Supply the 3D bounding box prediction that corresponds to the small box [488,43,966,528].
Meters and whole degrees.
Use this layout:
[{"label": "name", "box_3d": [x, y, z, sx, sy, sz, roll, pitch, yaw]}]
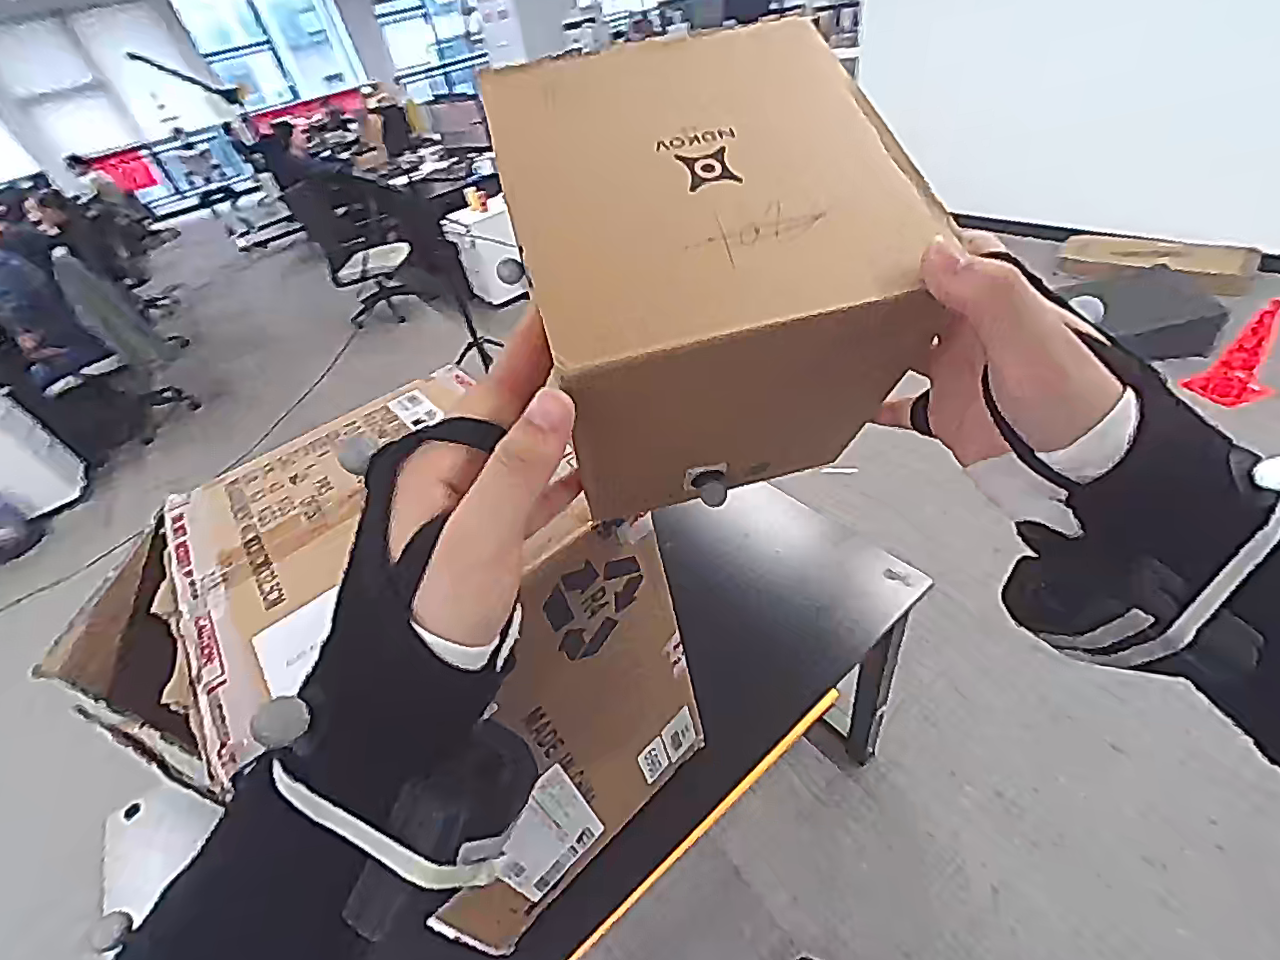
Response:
[{"label": "small box", "box_3d": [0.027, -0.094, 0.306, 0.168, 0.176, 0.179, -15, 68, -5]}]
